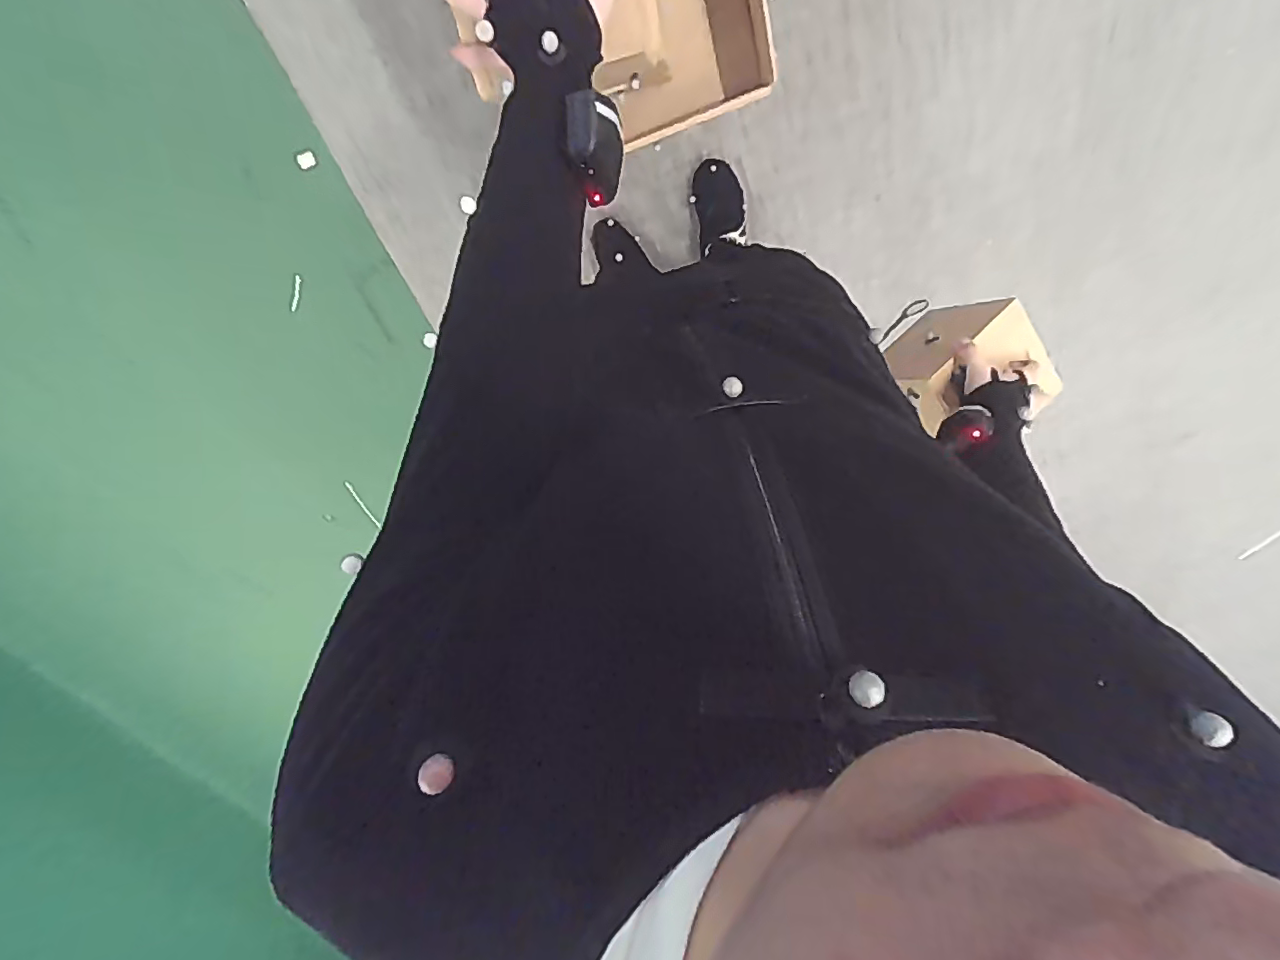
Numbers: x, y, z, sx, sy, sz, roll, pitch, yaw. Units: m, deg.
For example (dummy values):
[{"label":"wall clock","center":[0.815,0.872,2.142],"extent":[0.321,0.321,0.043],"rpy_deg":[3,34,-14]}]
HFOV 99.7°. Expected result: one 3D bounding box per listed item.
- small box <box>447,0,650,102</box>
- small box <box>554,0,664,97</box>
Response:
[{"label":"small box","center":[-0.089,-0.492,0.526],"extent":[0.168,0.176,0.179],"rpy_deg":[-8,123,11]},{"label":"small box","center":[-0.067,-0.587,0.658],"extent":[0.168,0.176,0.179],"rpy_deg":[-8,122,11]}]
